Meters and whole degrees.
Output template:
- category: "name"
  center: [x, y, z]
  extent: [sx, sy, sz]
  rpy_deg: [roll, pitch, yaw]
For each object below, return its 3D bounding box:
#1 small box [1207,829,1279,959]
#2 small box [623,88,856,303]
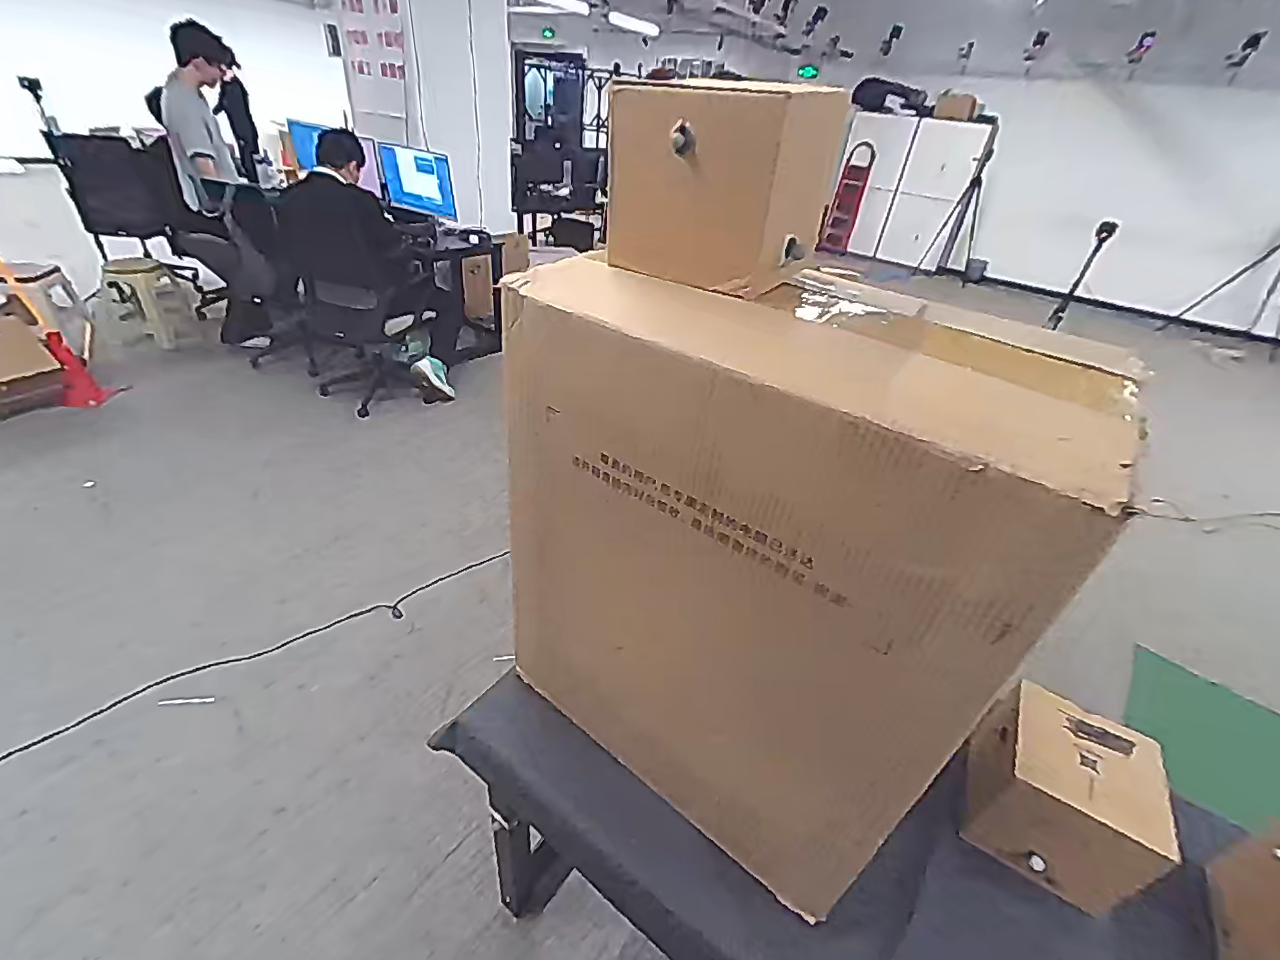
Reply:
- category: "small box"
  center: [0.818, 0.533, 0.615]
  extent: [0.179, 0.176, 0.168]
  rpy_deg: [27, 38, 27]
- category: "small box"
  center: [0.094, -0.300, 0.565]
  extent: [0.179, 0.176, 0.168]
  rpy_deg: [25, 43, 24]
